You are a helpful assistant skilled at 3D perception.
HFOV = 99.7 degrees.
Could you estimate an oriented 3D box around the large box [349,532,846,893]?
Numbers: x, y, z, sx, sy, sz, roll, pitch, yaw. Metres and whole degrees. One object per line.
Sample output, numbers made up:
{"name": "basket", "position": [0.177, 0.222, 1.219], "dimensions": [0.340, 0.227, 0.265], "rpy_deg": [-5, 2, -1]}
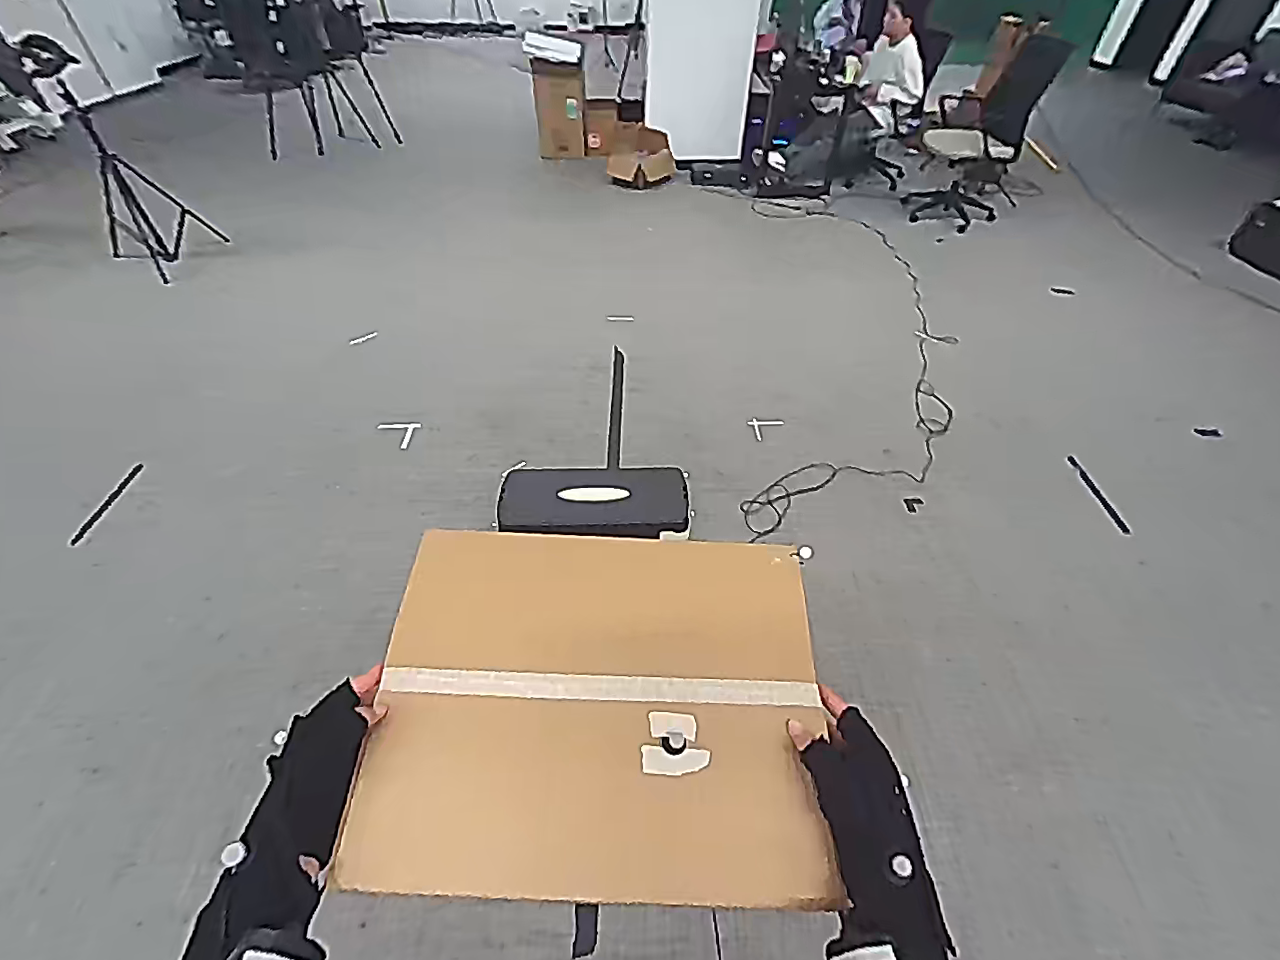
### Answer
{"name": "large box", "position": [-0.036, 0.275, 0.631], "dimensions": [0.408, 0.320, 0.320], "rpy_deg": [3, 56, -1]}
